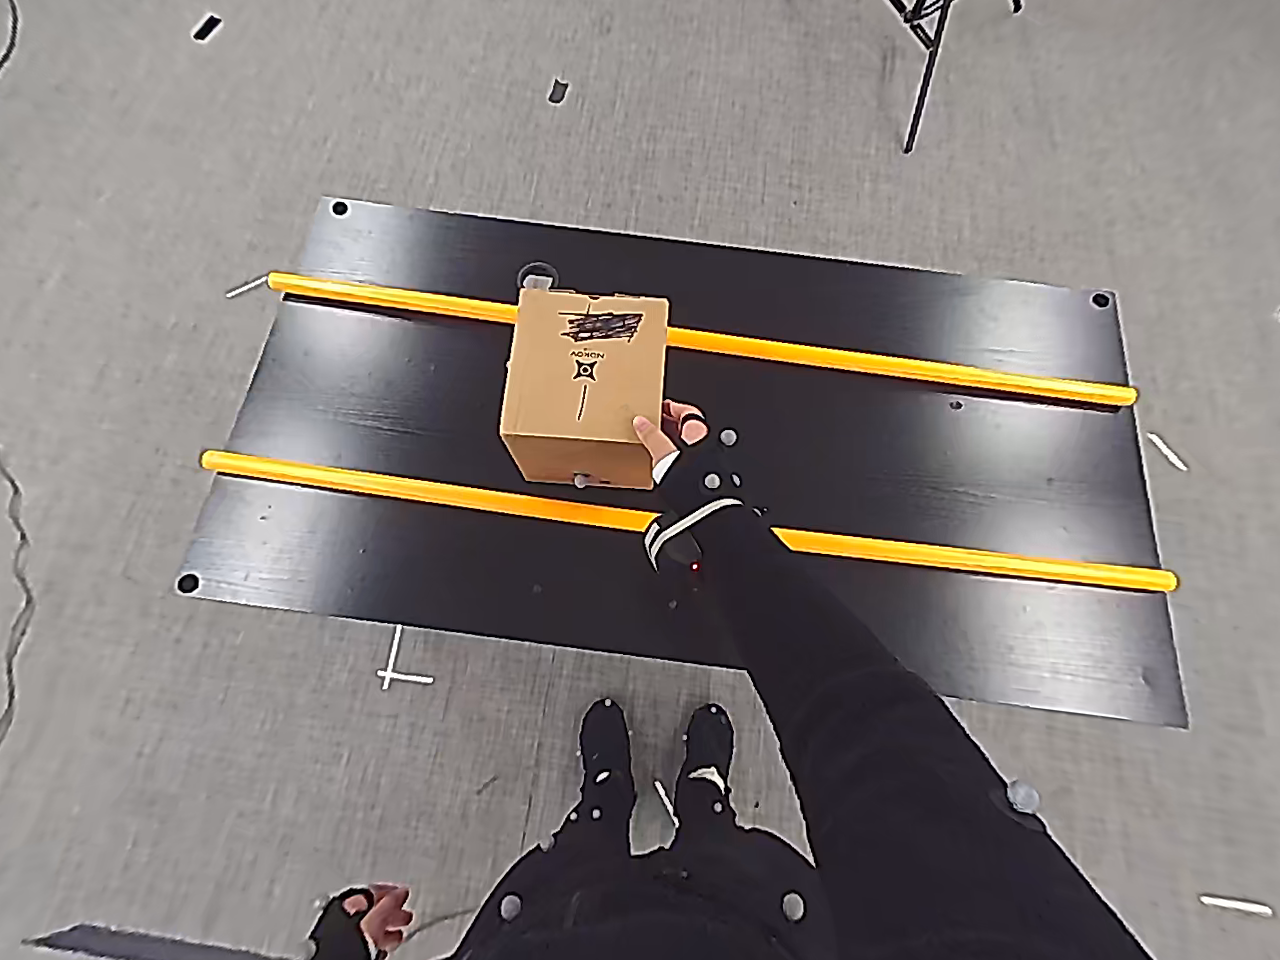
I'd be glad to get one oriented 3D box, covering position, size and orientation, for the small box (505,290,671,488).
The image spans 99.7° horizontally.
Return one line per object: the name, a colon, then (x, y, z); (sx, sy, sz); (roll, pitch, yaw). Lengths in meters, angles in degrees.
small box: (-0.055, -0.101, 0.657); (0.168, 0.176, 0.179); (4, 73, 0)
